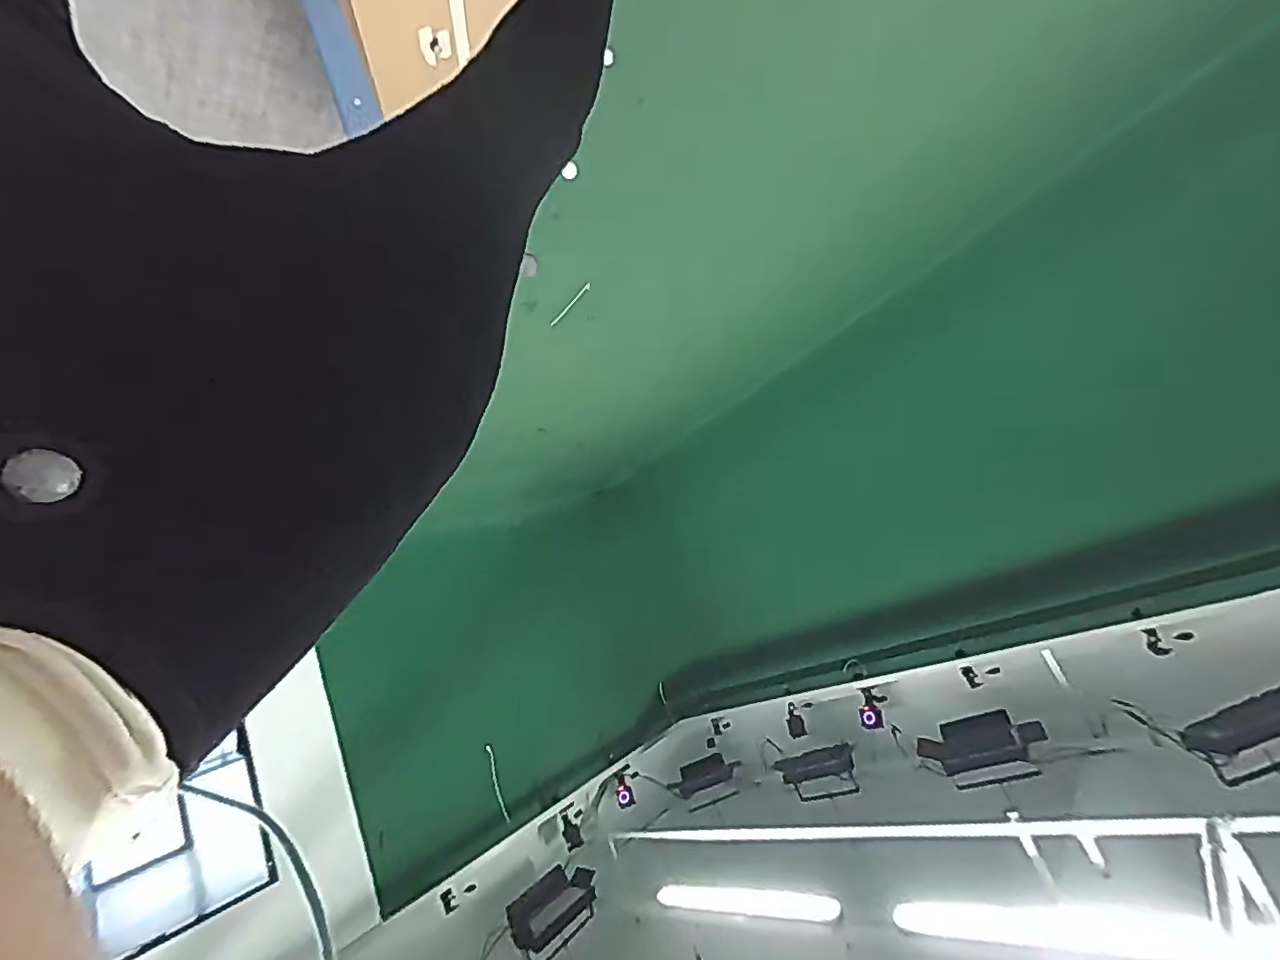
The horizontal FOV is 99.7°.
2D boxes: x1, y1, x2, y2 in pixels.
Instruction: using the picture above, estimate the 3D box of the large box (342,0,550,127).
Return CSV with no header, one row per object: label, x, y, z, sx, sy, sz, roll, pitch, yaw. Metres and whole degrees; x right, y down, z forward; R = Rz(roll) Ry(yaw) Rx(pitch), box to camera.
large box,-0.347,-0.896,0.883,0.320,0.320,0.408,-20,167,-16
